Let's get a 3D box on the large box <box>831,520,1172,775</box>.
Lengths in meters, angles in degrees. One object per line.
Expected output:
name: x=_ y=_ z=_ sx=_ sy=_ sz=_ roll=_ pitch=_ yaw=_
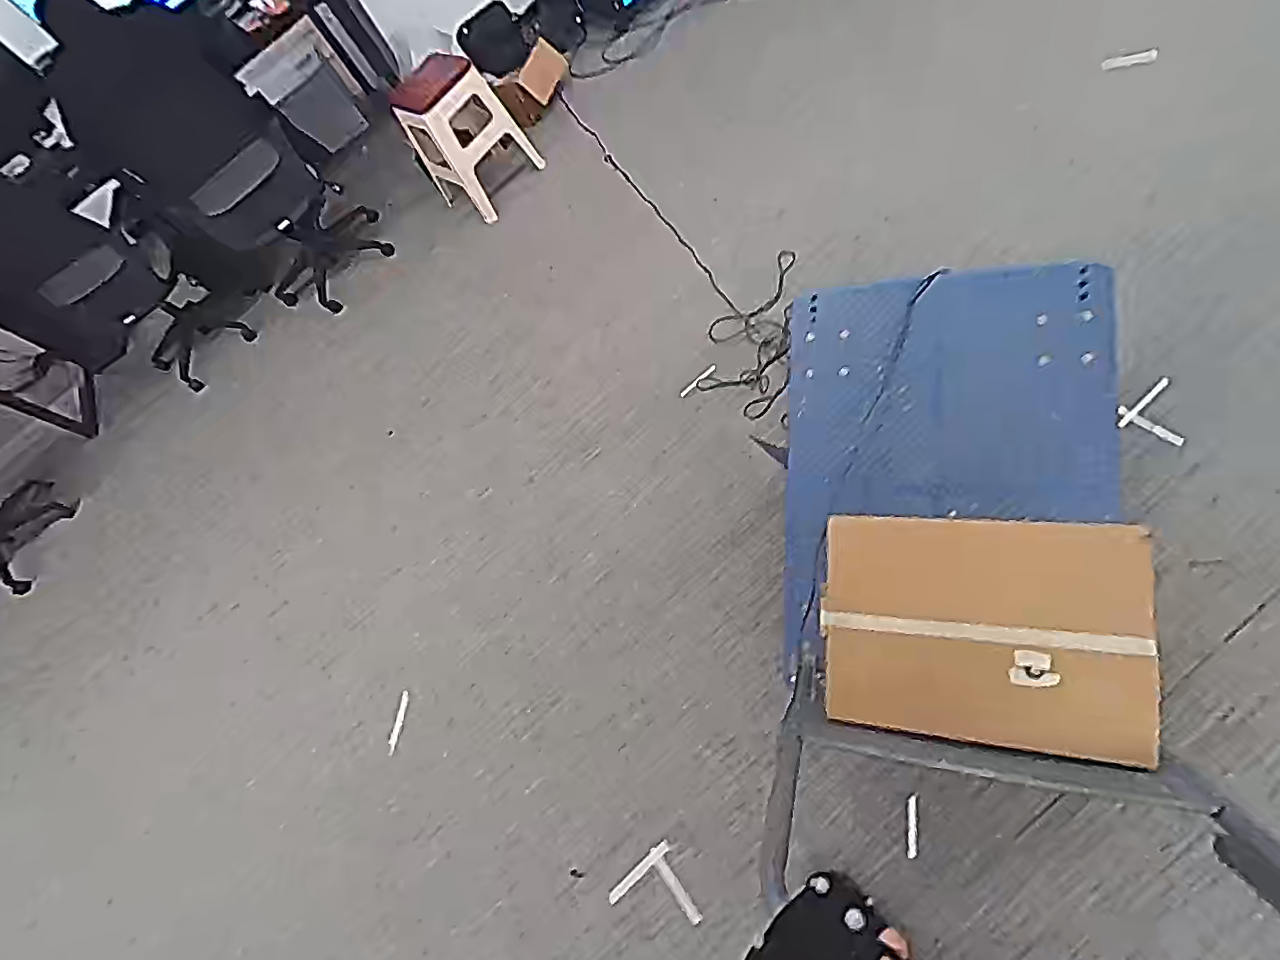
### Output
large box: x=0.529 y=0.230 z=0.890 sx=0.408 sy=0.320 sz=0.320 roll=1 pitch=86 yaw=20
